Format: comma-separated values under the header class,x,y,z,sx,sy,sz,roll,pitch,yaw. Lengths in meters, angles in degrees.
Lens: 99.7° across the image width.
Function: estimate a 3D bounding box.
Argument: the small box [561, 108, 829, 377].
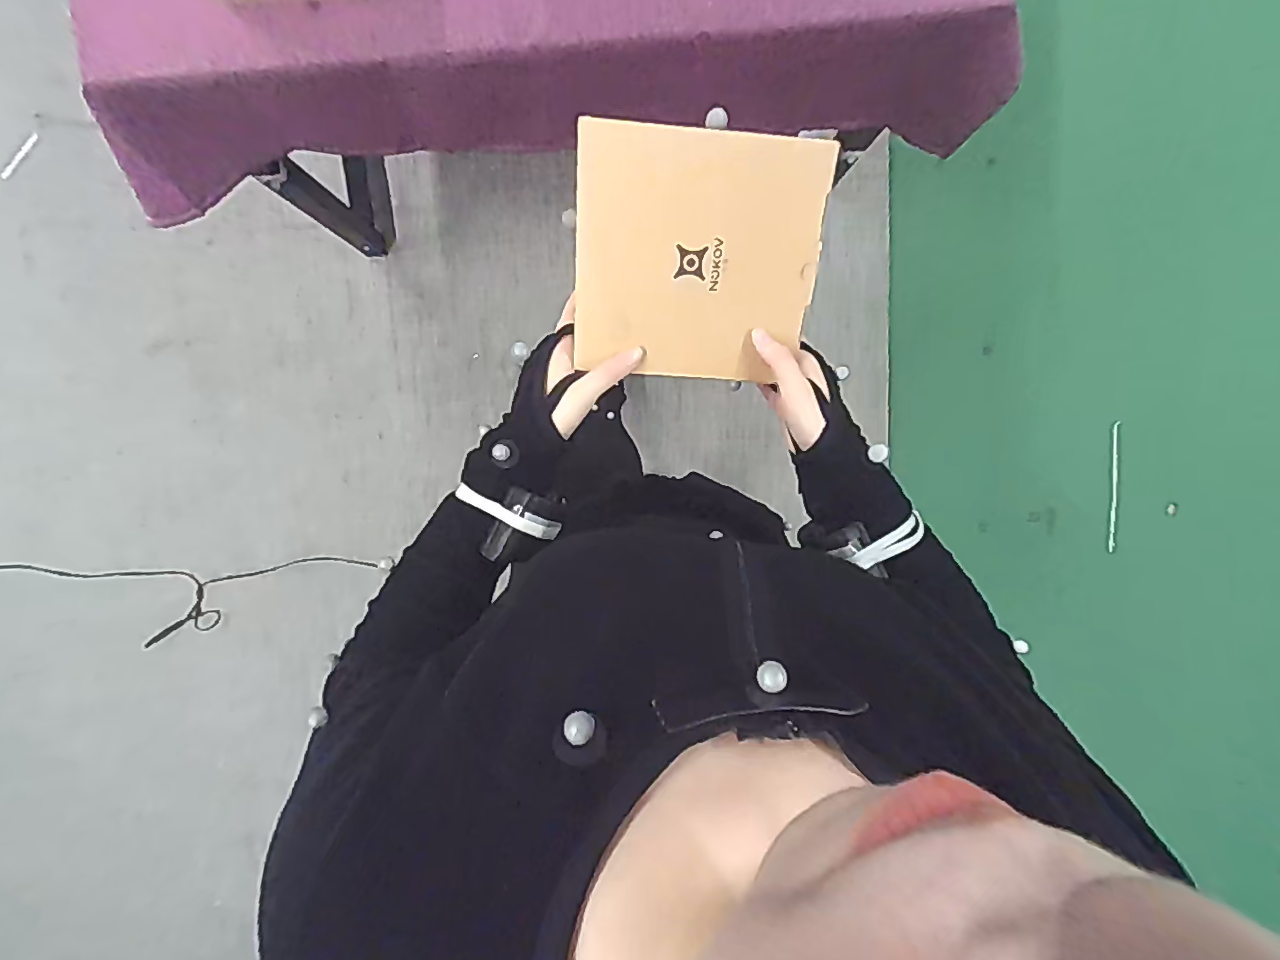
class,x,y,z,sx,sy,sz,roll,pitch,yaw
small box,0.030,-0.193,0.458,0.179,0.176,0.168,3,115,-5
